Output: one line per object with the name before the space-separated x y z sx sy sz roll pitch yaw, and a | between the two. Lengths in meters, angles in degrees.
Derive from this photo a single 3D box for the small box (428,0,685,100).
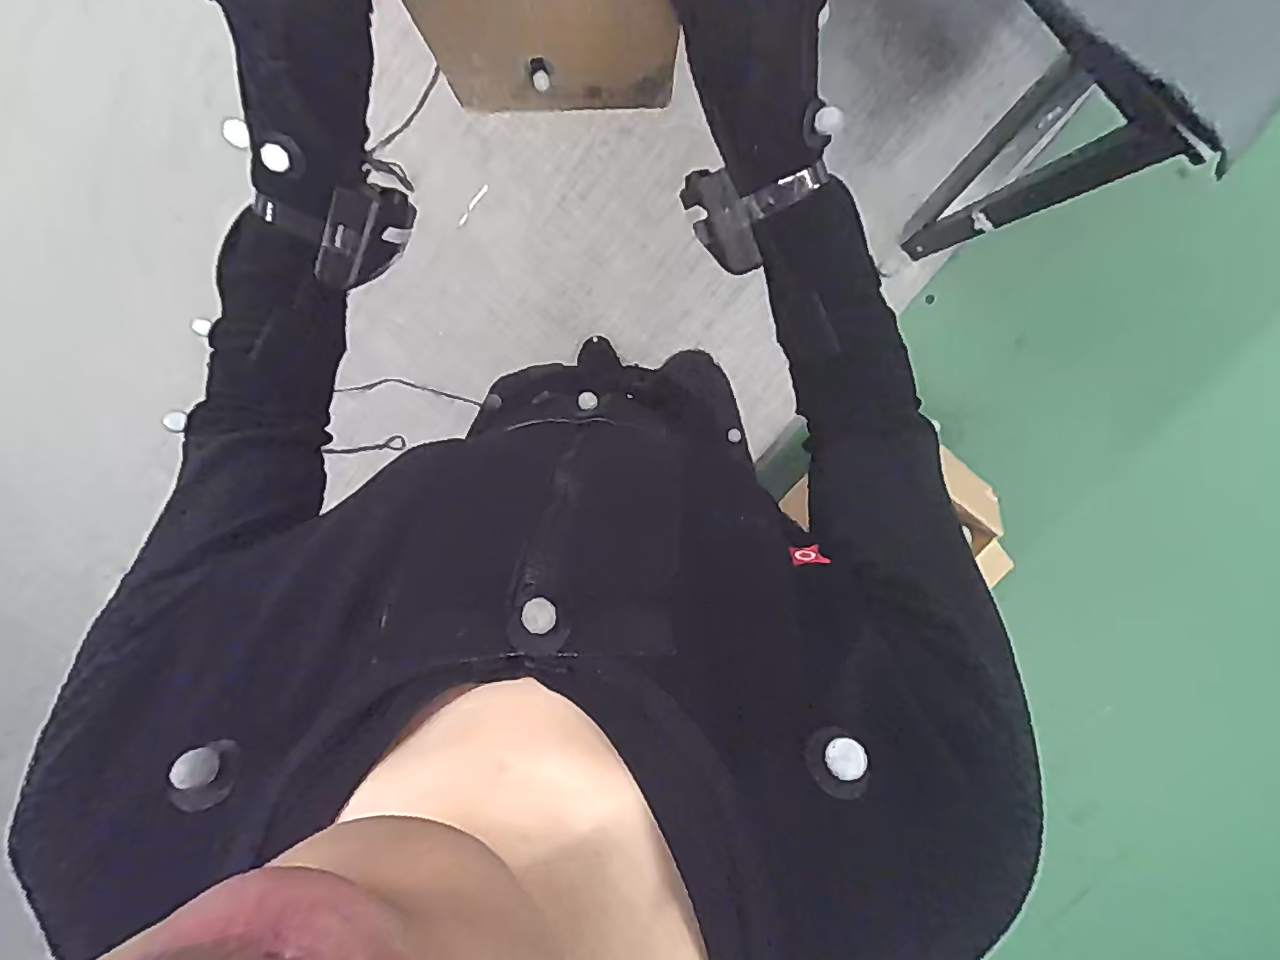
small box | -0.057 -0.375 0.336 0.168 0.176 0.179 -2 100 -1
